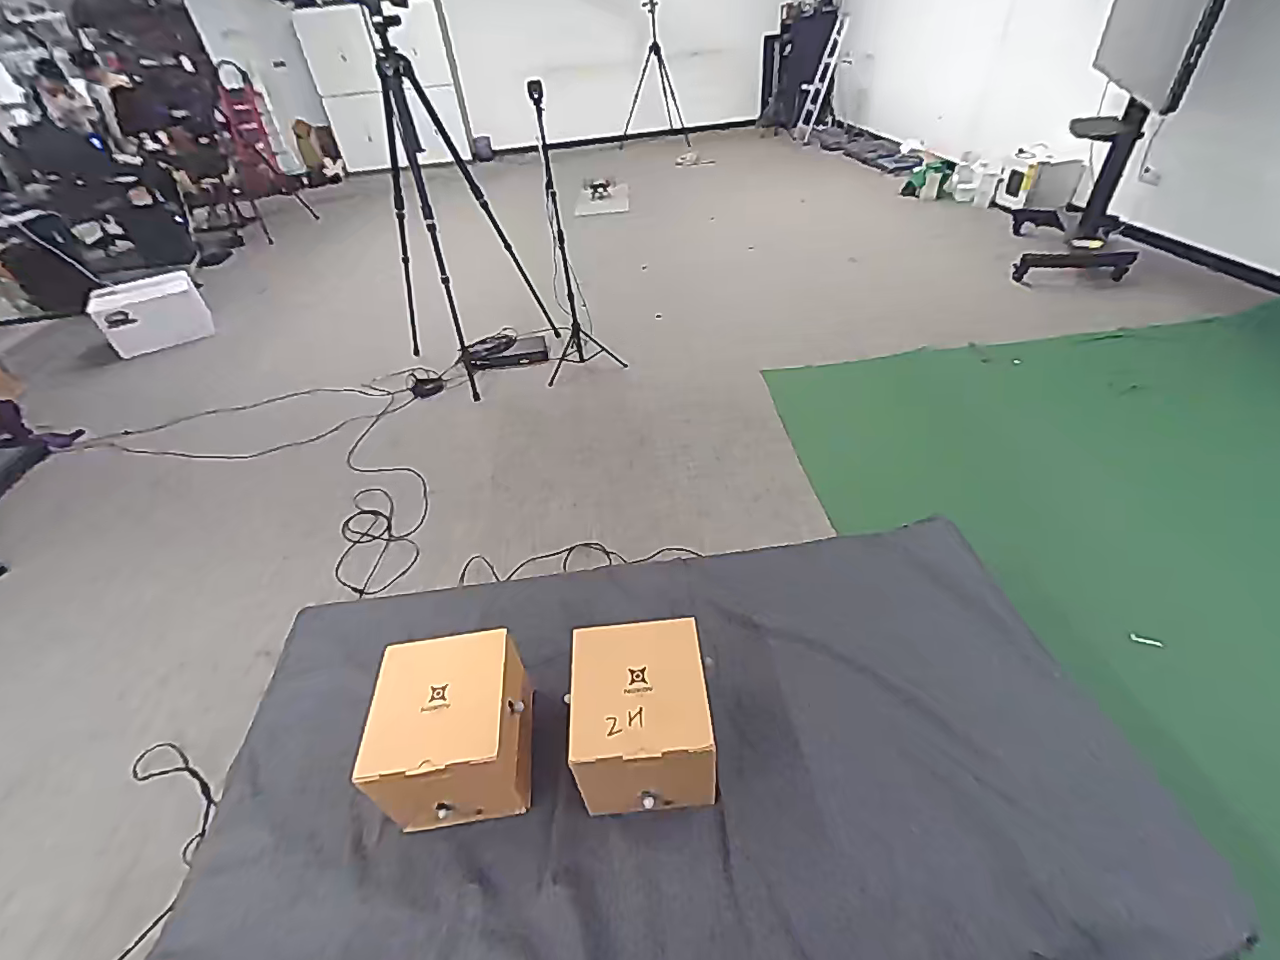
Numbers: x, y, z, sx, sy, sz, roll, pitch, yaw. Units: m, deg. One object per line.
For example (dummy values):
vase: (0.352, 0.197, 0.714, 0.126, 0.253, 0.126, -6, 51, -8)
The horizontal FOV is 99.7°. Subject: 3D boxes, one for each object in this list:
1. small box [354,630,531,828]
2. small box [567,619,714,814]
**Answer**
small box: (-0.245, 0.330, 0.722, 0.168, 0.176, 0.179, -8, 41, -3)
small box: (0.002, 0.310, 0.712, 0.168, 0.176, 0.179, -6, 41, 1)
